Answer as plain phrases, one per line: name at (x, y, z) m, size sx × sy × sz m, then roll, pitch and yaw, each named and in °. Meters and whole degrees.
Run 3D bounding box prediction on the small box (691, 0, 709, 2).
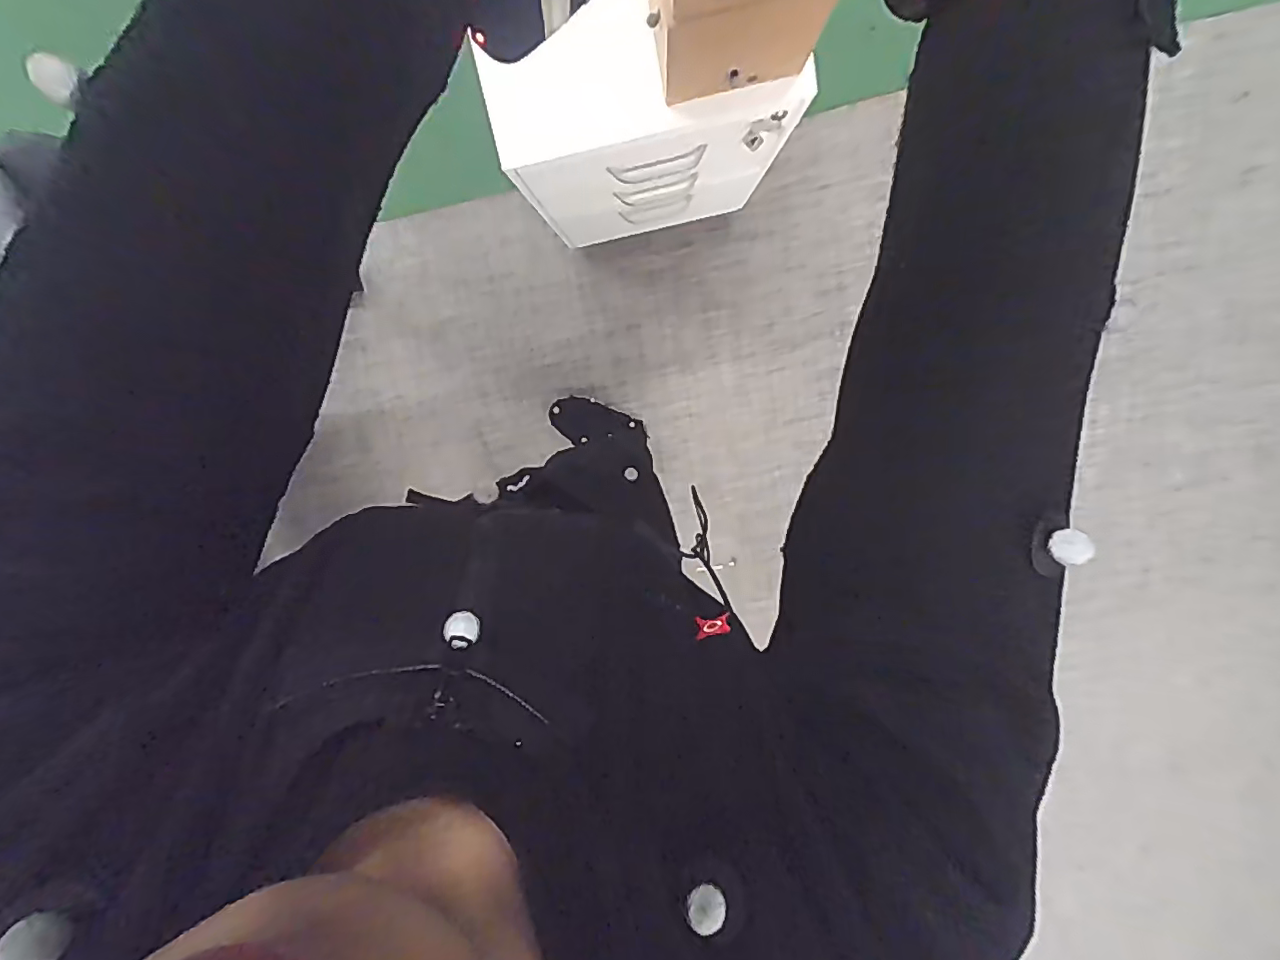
small box at (0.089, -0.493, 0.386) m, size 0.168 × 0.176 × 0.179 m, roll -10°, pitch 103°, yaw 3°
